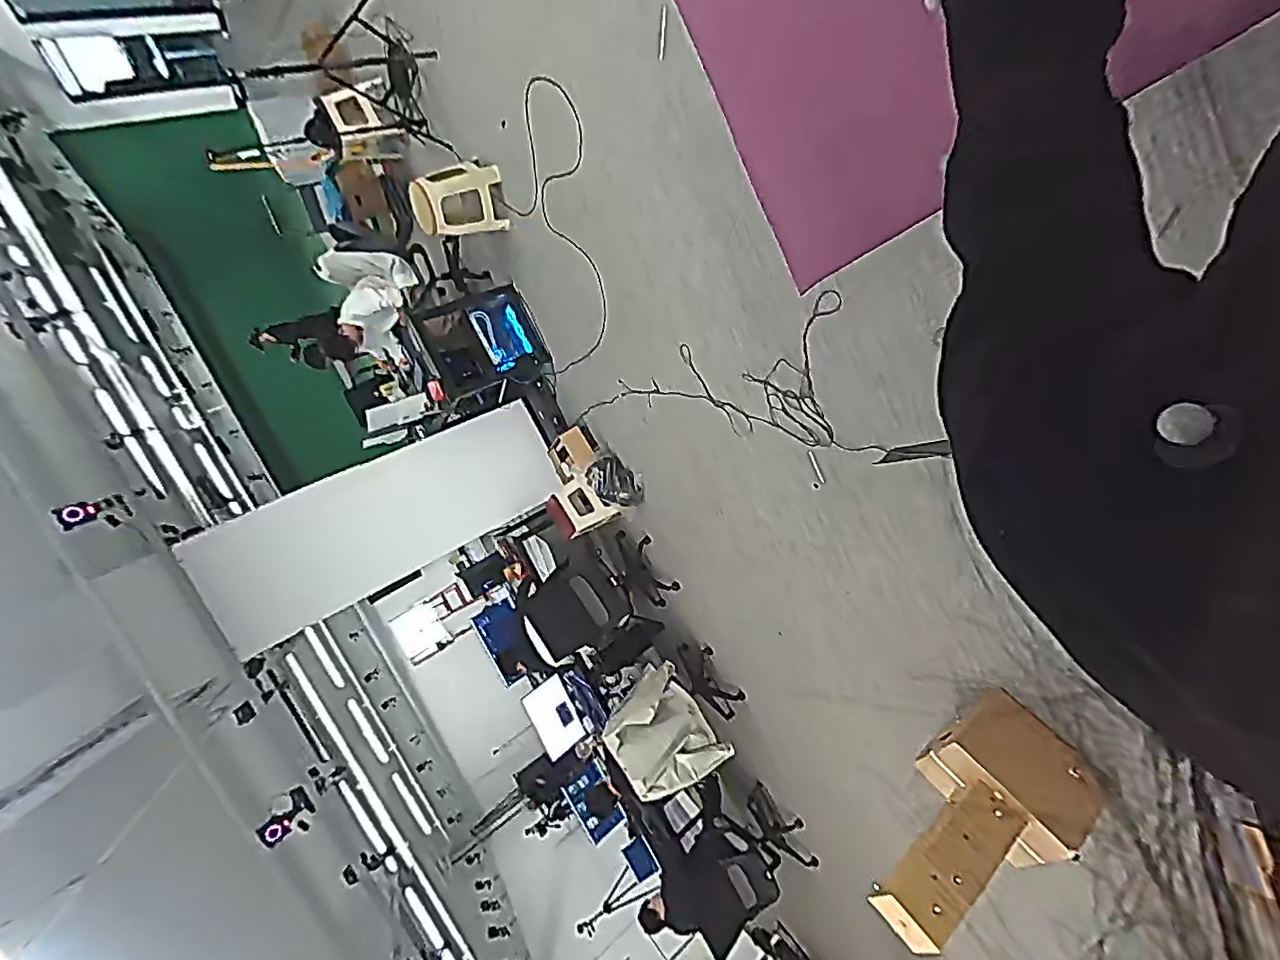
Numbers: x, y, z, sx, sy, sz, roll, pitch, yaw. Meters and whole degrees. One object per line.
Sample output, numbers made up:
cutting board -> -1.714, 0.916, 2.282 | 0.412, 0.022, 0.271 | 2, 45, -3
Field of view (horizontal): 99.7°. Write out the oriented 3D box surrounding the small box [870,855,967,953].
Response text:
small box -> 0.831, 1.256, 1.609 | 0.168, 0.176, 0.179 | 45, 150, 30

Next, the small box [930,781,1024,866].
small box -> 1.091, 1.114, 1.748 | 0.168, 0.176, 0.179 | 45, 149, 30

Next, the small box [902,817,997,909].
small box -> 0.962, 1.189, 1.679 | 0.168, 0.176, 0.179 | 45, 151, 29
